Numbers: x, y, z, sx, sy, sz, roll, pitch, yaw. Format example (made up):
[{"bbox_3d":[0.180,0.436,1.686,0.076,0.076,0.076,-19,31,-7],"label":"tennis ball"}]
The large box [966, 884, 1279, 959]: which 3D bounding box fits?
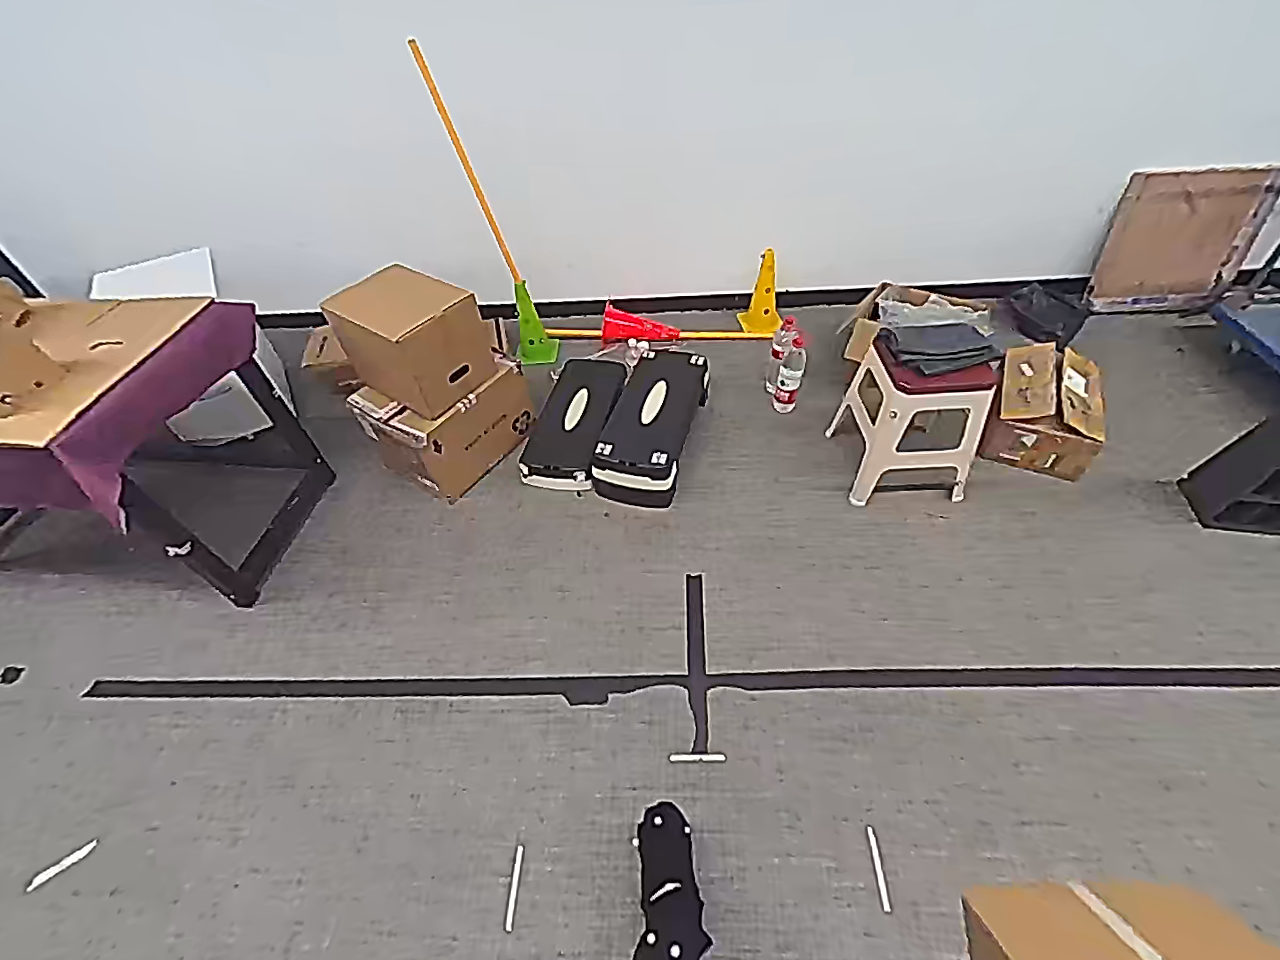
[{"bbox_3d":[0.616,0.720,0.569,0.320,0.408,0.320,-6,85,6],"label":"large box"}]
